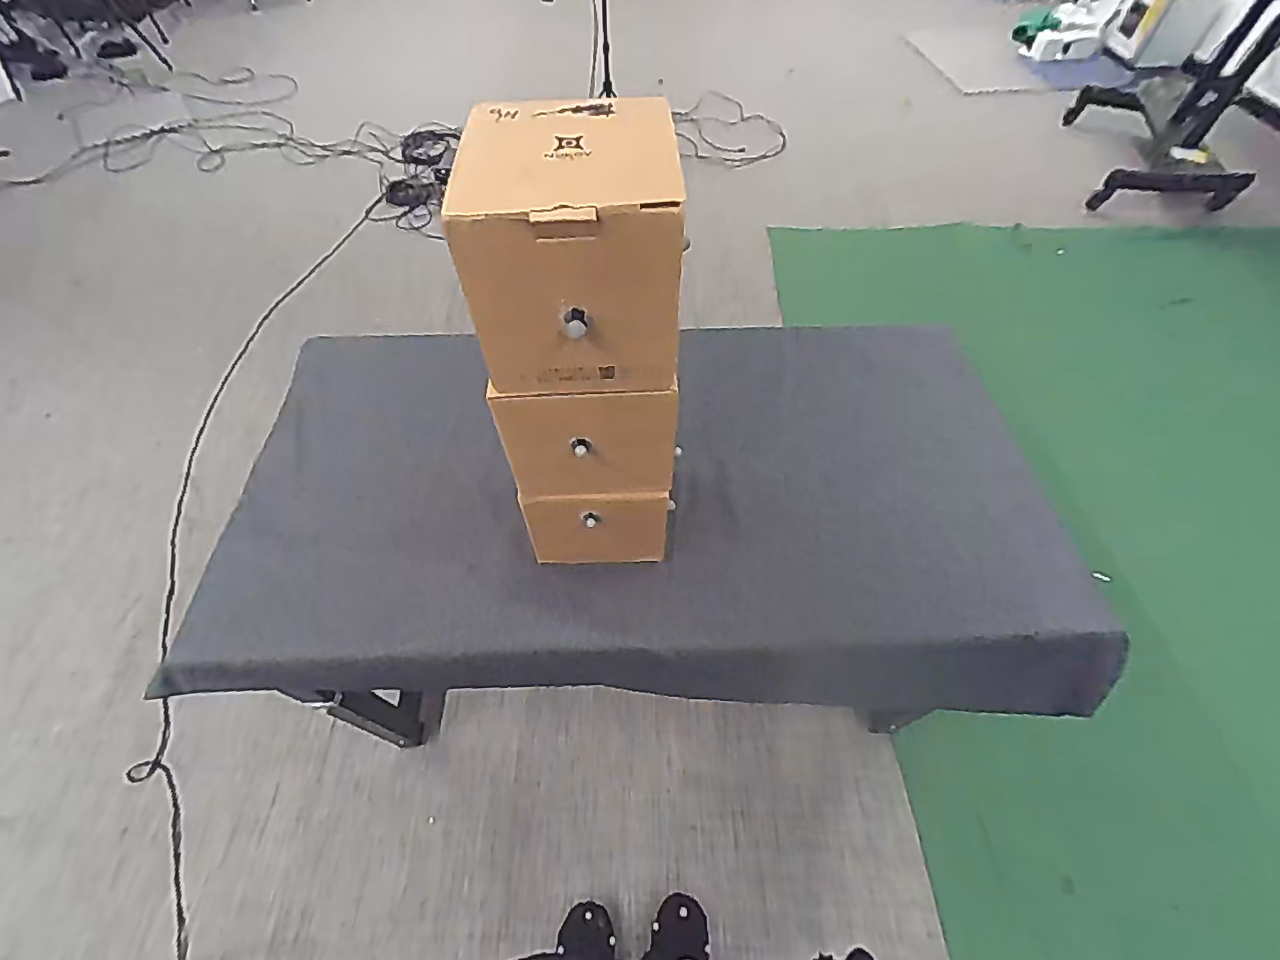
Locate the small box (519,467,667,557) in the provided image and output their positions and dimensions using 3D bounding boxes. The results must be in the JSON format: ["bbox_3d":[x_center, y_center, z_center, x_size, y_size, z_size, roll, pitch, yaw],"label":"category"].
[{"bbox_3d":[-0.056,-0.003,0.734,0.179,0.176,0.168,0,57,-2],"label":"small box"}]

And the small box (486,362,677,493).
[{"bbox_3d":[-0.056,-0.098,0.600,0.179,0.176,0.168,-3,56,-1],"label":"small box"}]

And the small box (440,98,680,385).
[{"bbox_3d":[-0.054,-0.196,0.469,0.168,0.176,0.179,-2,57,-1],"label":"small box"}]
